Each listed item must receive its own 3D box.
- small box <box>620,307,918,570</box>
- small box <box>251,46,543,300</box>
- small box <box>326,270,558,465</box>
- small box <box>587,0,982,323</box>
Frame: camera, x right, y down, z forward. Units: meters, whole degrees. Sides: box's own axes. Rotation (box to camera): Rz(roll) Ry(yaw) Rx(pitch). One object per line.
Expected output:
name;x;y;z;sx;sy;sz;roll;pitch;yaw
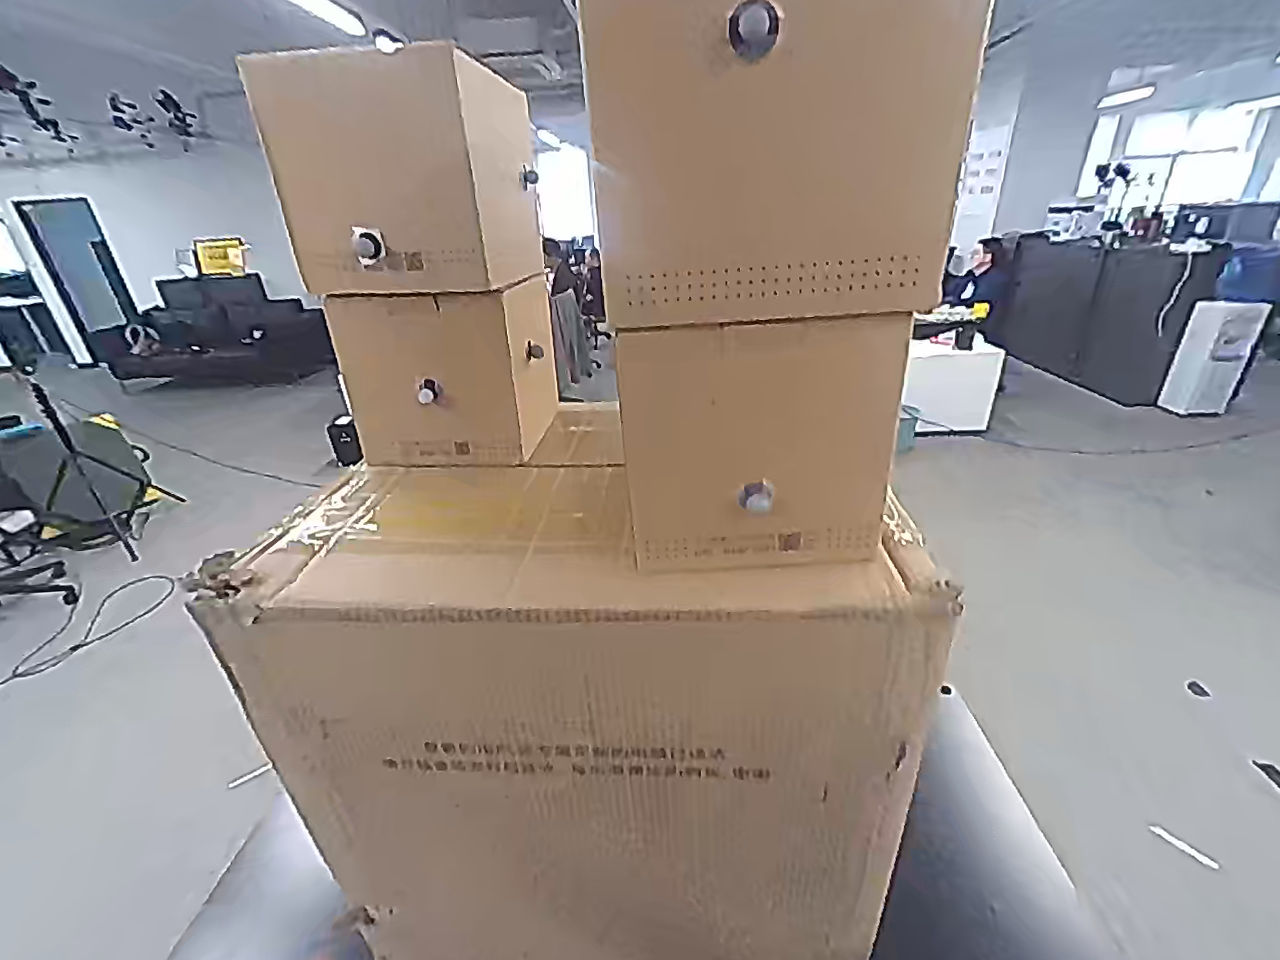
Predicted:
small box;0.077;-0.052;0.405;0.168;0.176;0.179;-4;28;3
small box;-0.191;-0.262;0.490;0.168;0.176;0.179;0;27;6
small box;-0.187;-0.123;0.577;0.168;0.176;0.179;0;27;4
small box;0.071;-0.192;0.319;0.179;0.176;0.168;-1;28;4
